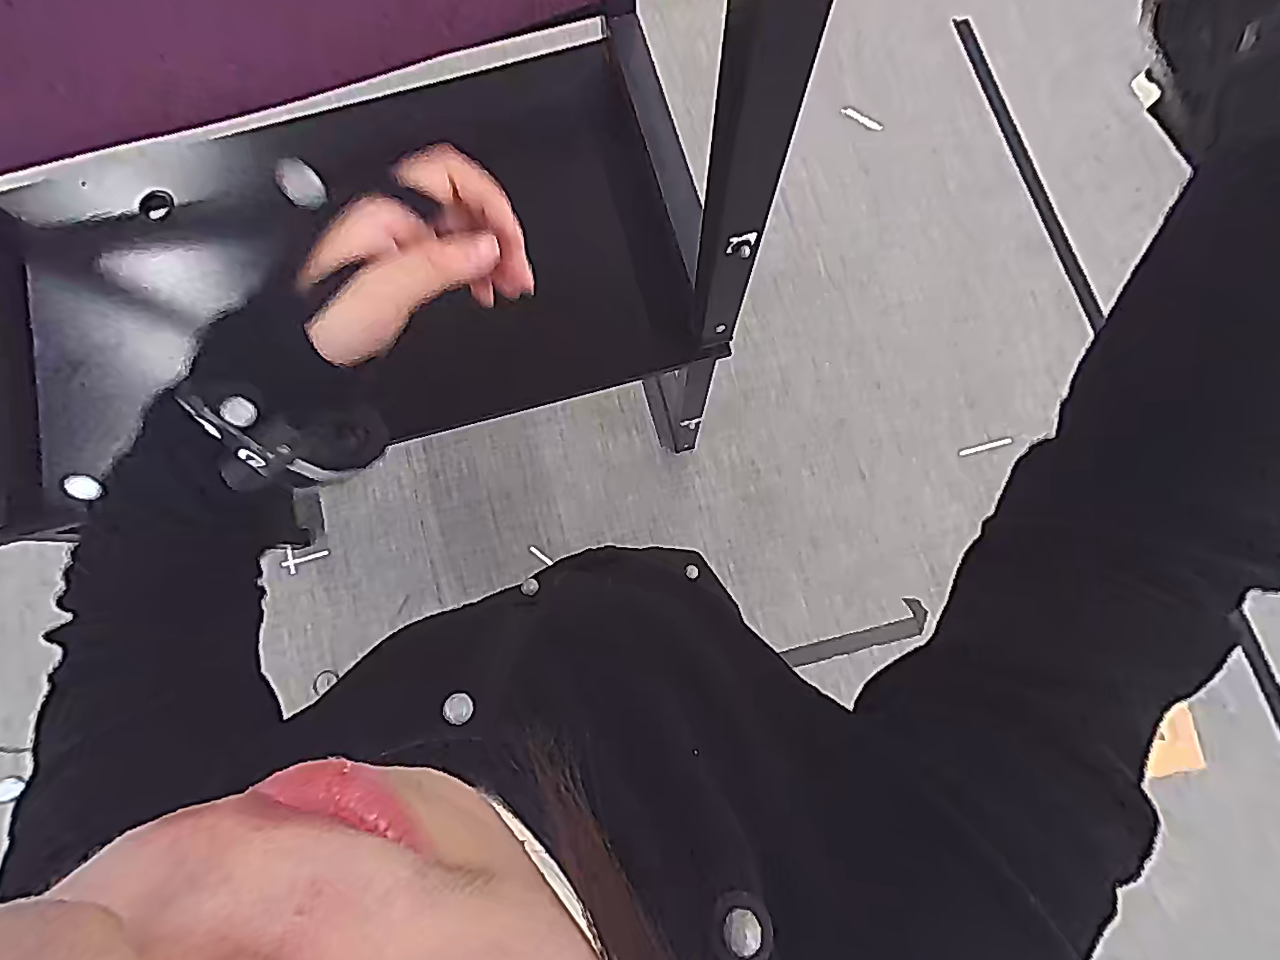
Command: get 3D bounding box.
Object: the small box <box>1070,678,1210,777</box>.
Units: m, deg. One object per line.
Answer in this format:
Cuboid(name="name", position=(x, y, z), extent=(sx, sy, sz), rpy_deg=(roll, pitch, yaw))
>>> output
Cuboid(name="small box", position=(1.200, 0.596, 1.320), extent=(0.179, 0.176, 0.168), rpy_deg=(-10, 82, 0))
